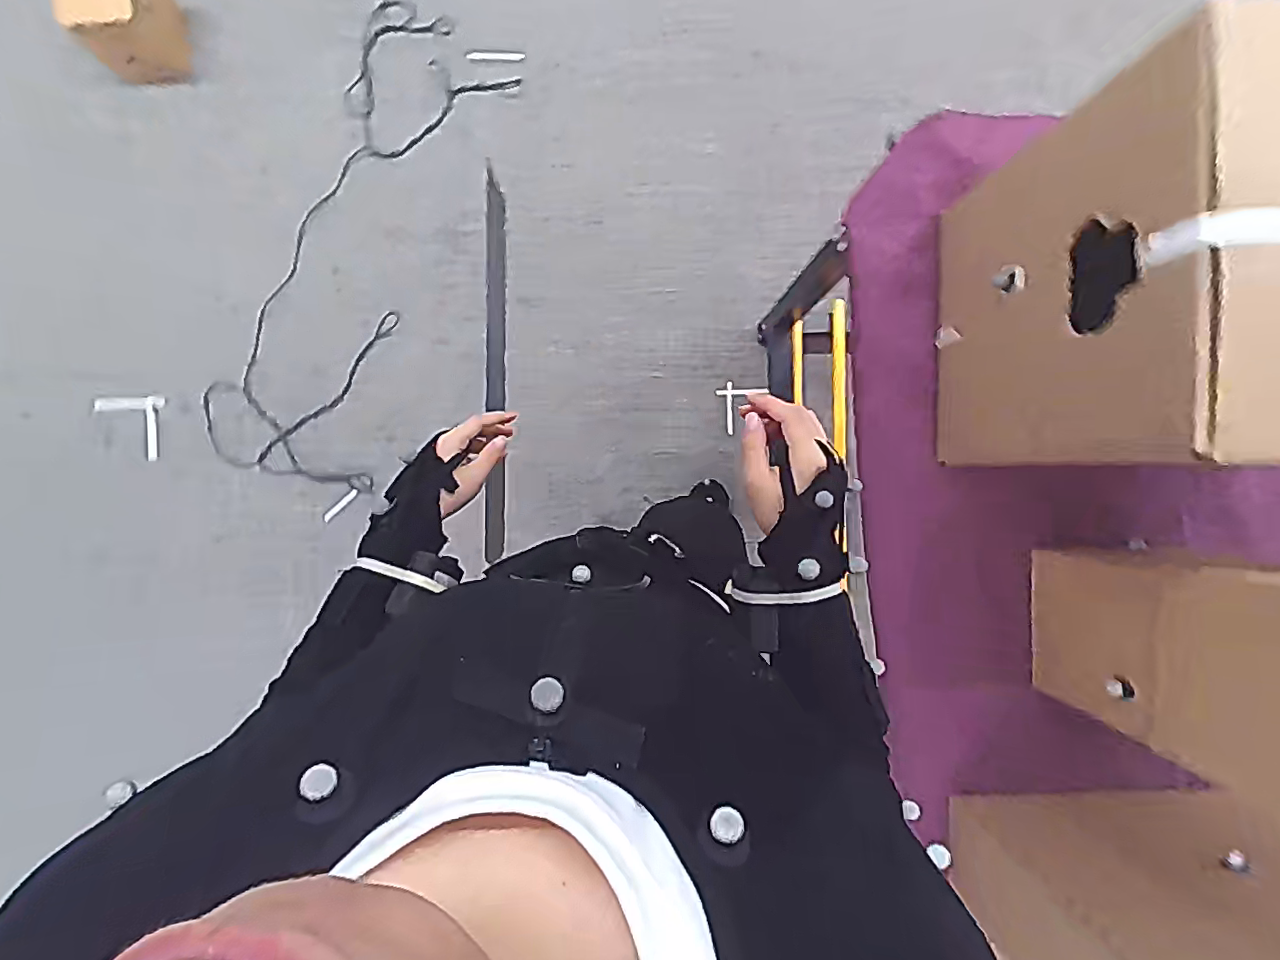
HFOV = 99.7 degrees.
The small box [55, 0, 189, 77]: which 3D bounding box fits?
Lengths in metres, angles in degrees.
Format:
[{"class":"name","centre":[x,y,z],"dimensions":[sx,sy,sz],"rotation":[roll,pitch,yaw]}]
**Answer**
[{"class":"small box","centre":[-1.221,-1.107,1.283],"dimensions":[0.168,0.176,0.179],"rotation":[-6,90,-2]}]
